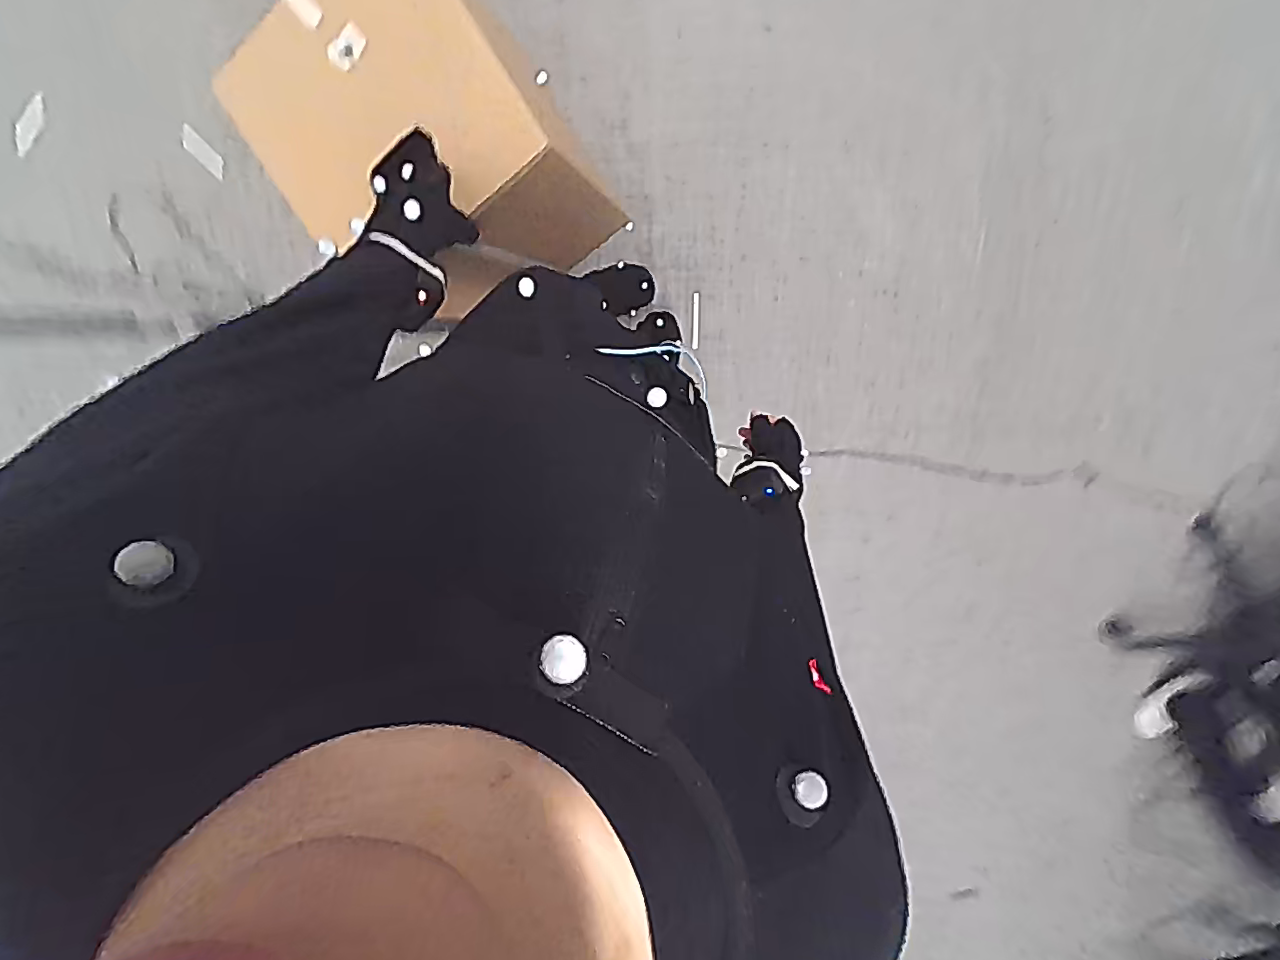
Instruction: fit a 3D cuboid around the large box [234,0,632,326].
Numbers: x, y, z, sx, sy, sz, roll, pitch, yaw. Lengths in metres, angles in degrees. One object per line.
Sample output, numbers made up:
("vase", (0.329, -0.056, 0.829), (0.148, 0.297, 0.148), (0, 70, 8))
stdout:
("large box", (-0.262, -0.452, 0.812), (0.320, 0.408, 0.320), (-31, 98, 19))
